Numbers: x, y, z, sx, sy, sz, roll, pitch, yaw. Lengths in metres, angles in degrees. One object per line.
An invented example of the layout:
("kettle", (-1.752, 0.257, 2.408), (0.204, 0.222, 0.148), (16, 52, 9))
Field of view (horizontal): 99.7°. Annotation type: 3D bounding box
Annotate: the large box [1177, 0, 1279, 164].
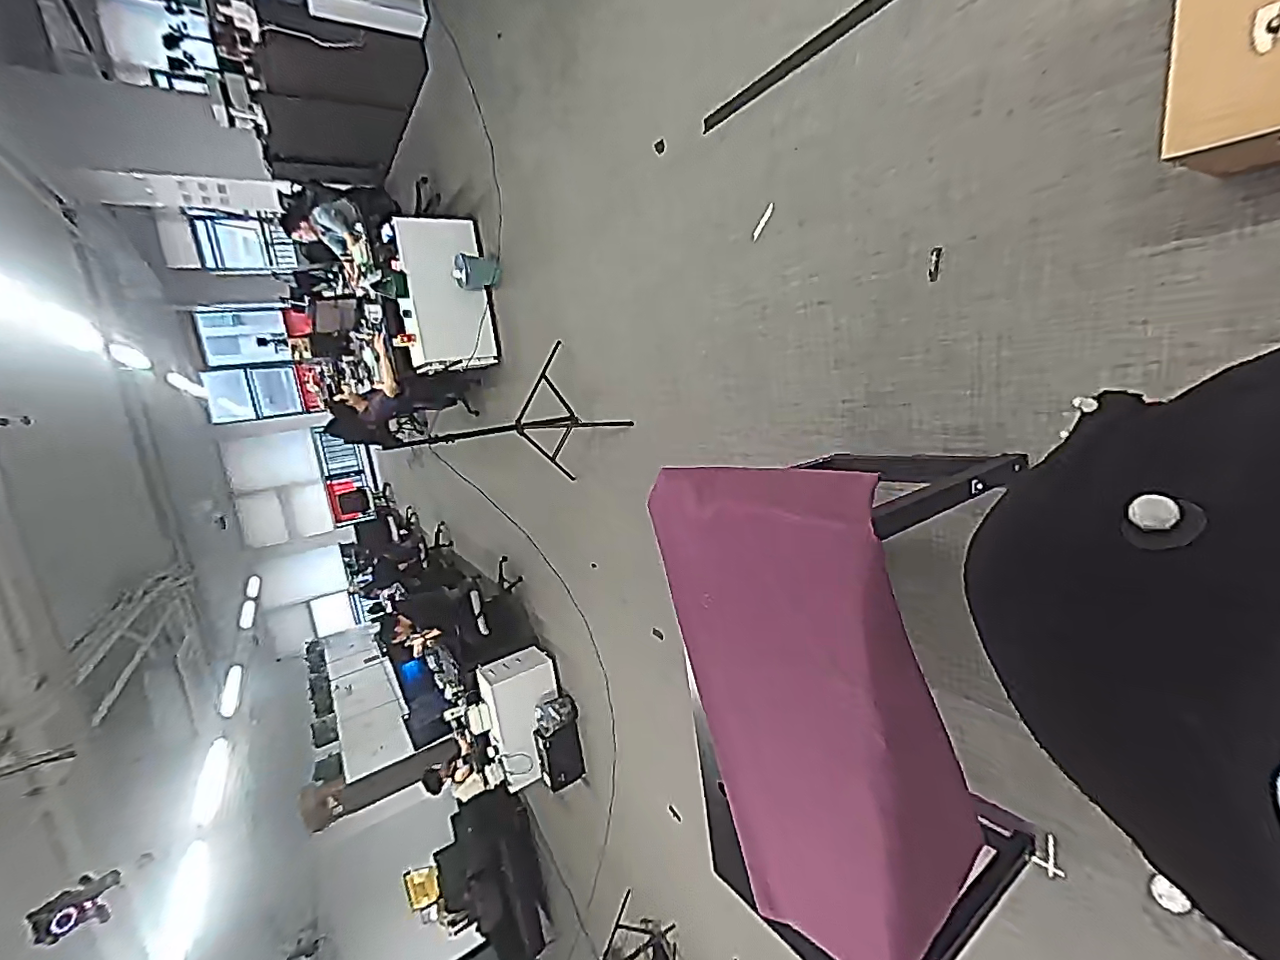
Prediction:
("large box", (1.013, -0.717, 0.747), (0.320, 0.320, 0.408), (13, 114, 57))
